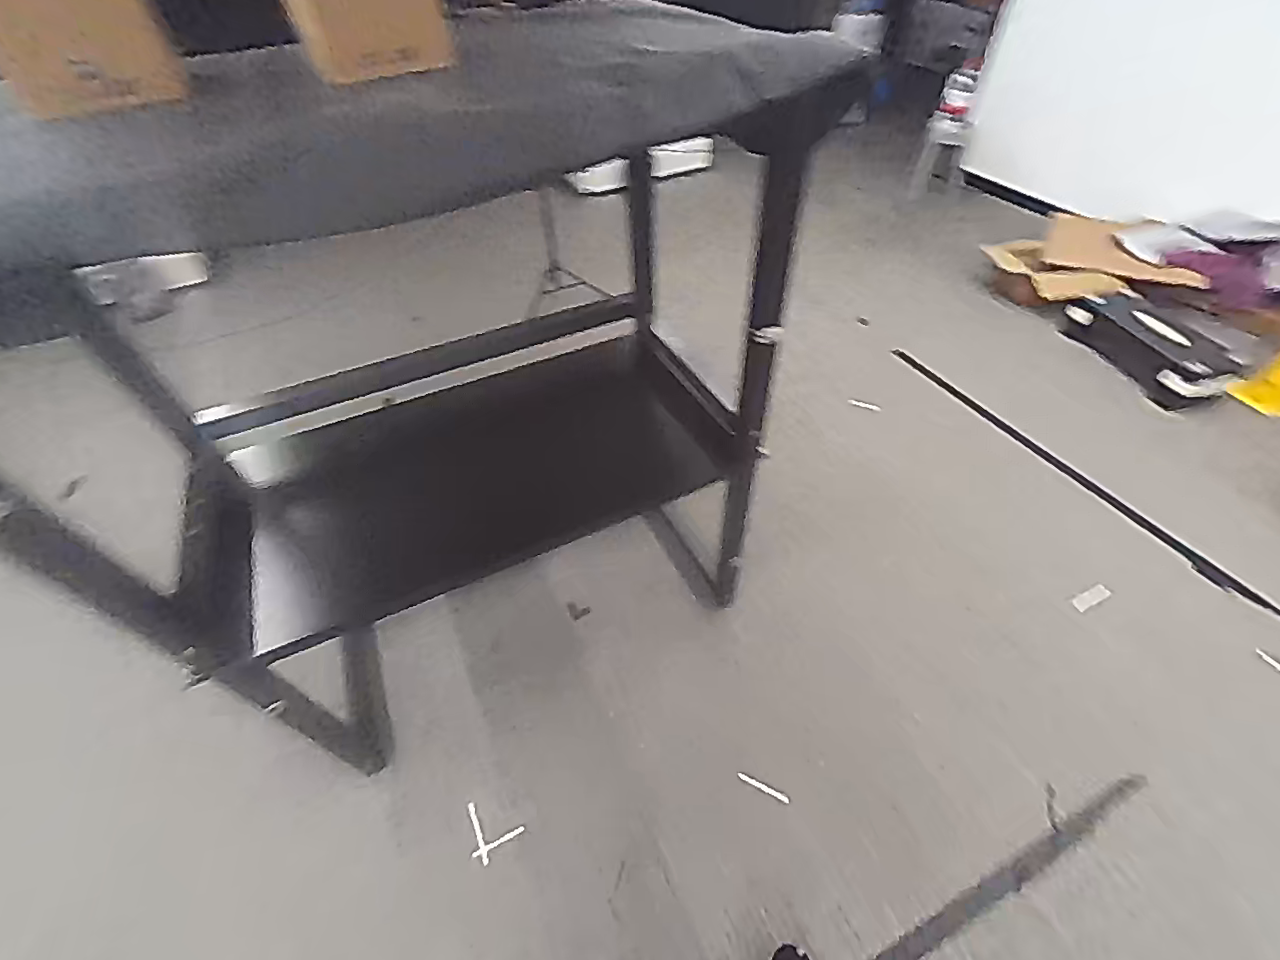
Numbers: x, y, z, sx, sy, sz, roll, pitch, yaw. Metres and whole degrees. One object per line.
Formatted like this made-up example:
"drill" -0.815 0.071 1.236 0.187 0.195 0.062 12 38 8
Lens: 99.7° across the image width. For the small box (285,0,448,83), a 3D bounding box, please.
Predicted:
"small box" -0.381 -0.652 0.721 0.168 0.176 0.179 -27 52 -19
